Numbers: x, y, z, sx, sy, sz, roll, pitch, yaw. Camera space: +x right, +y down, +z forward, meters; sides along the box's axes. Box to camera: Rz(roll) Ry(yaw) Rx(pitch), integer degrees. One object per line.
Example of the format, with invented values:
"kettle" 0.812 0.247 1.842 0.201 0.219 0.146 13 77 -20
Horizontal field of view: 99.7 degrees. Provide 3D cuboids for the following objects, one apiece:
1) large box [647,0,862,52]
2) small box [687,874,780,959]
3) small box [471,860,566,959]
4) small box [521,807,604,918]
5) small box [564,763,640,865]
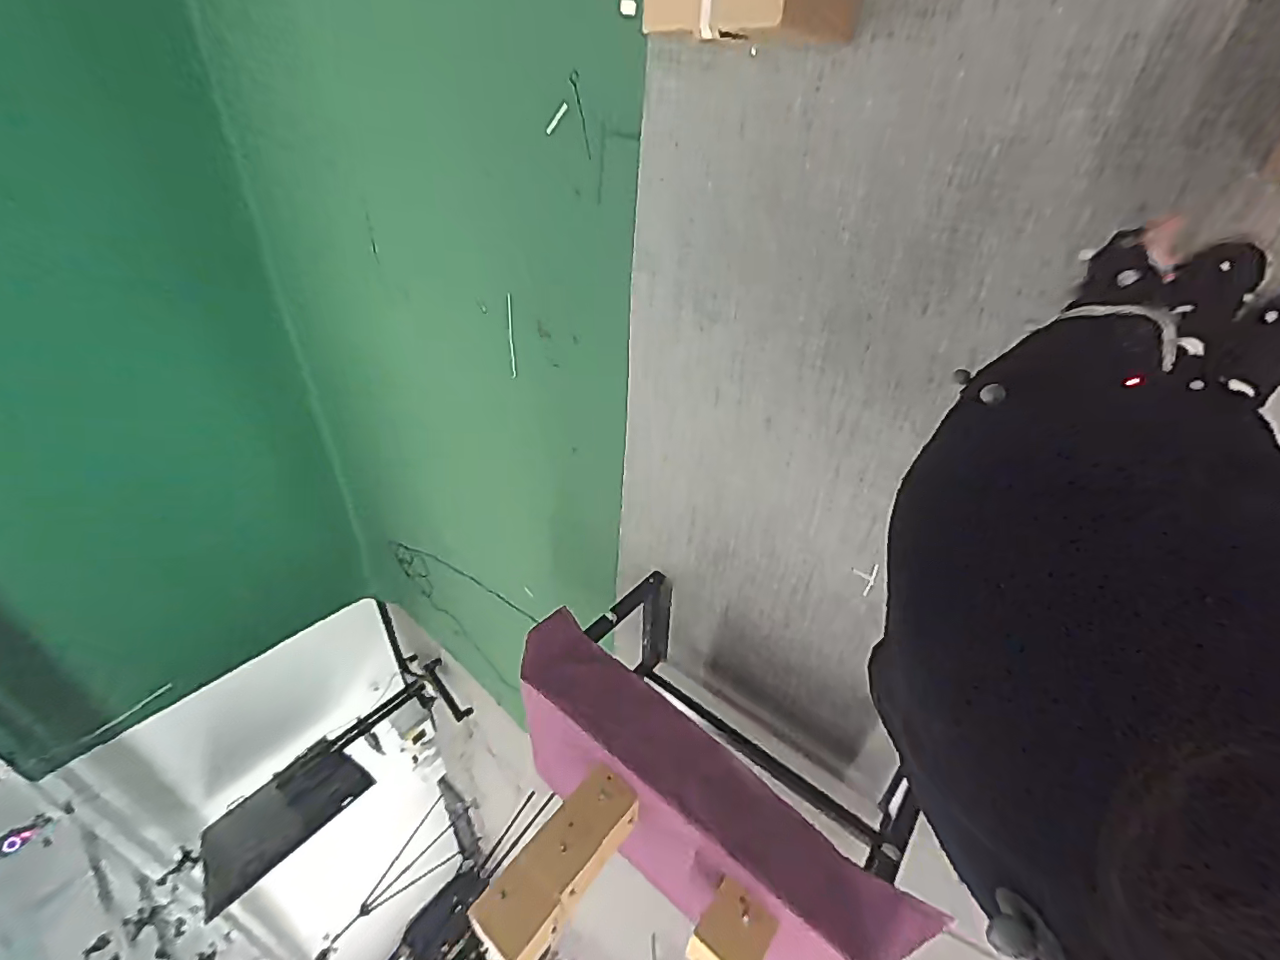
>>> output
"large box" 0.236 -1.059 0.991 0.320 0.320 0.408 28 130 31
"small box" 0.245 1.190 1.411 0.168 0.176 0.179 28 131 30
"small box" -0.318 1.157 1.438 0.179 0.176 0.168 26 132 30
"small box" -0.217 1.082 1.542 0.168 0.176 0.179 27 132 31
"small box" -0.114 1.011 1.650 0.168 0.176 0.179 27 131 31
